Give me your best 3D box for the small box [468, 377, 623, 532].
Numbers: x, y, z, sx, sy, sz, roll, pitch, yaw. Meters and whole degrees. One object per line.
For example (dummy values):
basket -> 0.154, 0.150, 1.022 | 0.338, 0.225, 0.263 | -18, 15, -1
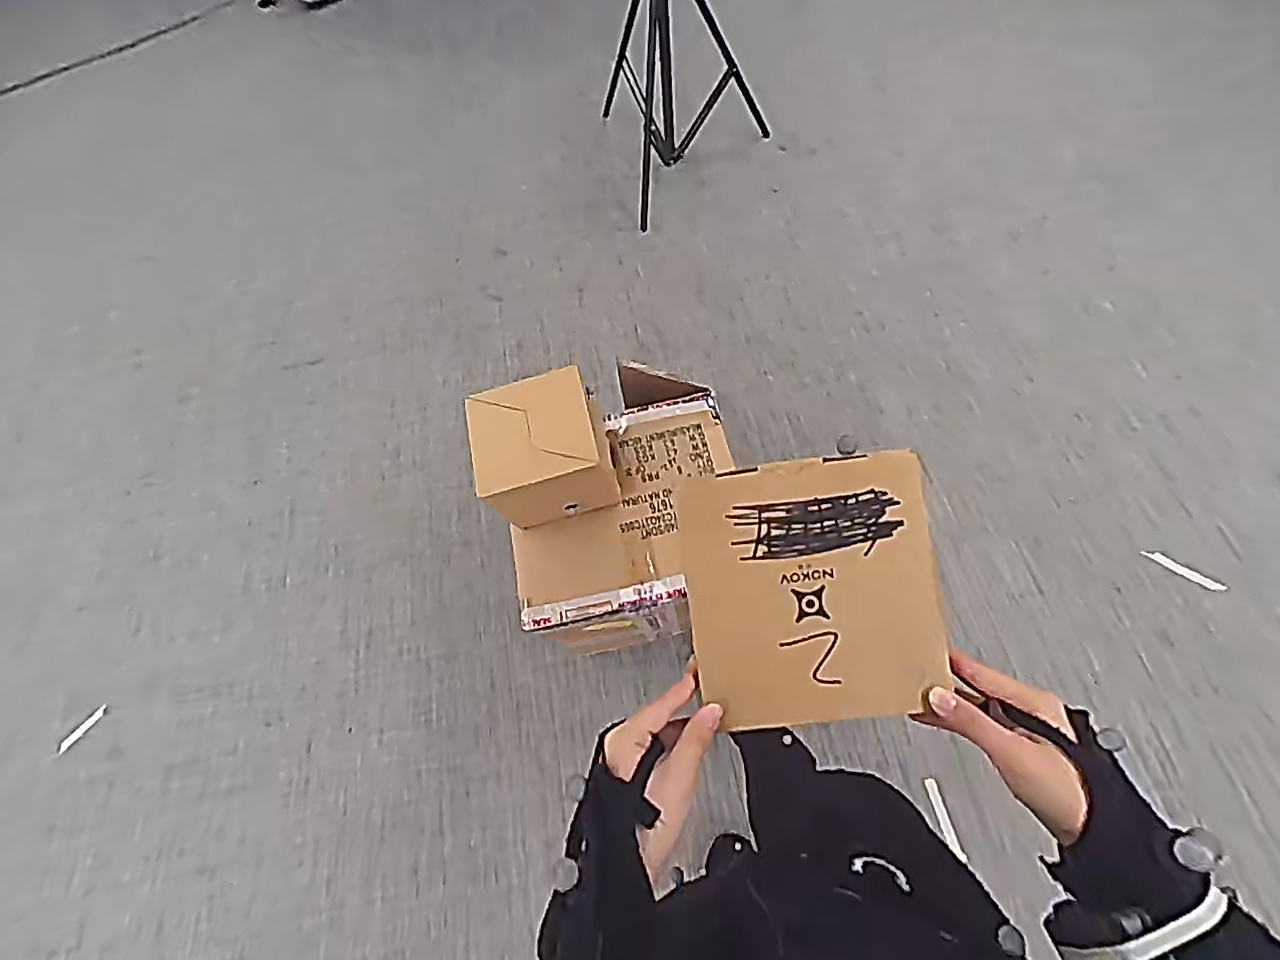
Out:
small box -> -0.141, -0.037, 0.838 | 0.179, 0.176, 0.168 | -15, 68, 3
